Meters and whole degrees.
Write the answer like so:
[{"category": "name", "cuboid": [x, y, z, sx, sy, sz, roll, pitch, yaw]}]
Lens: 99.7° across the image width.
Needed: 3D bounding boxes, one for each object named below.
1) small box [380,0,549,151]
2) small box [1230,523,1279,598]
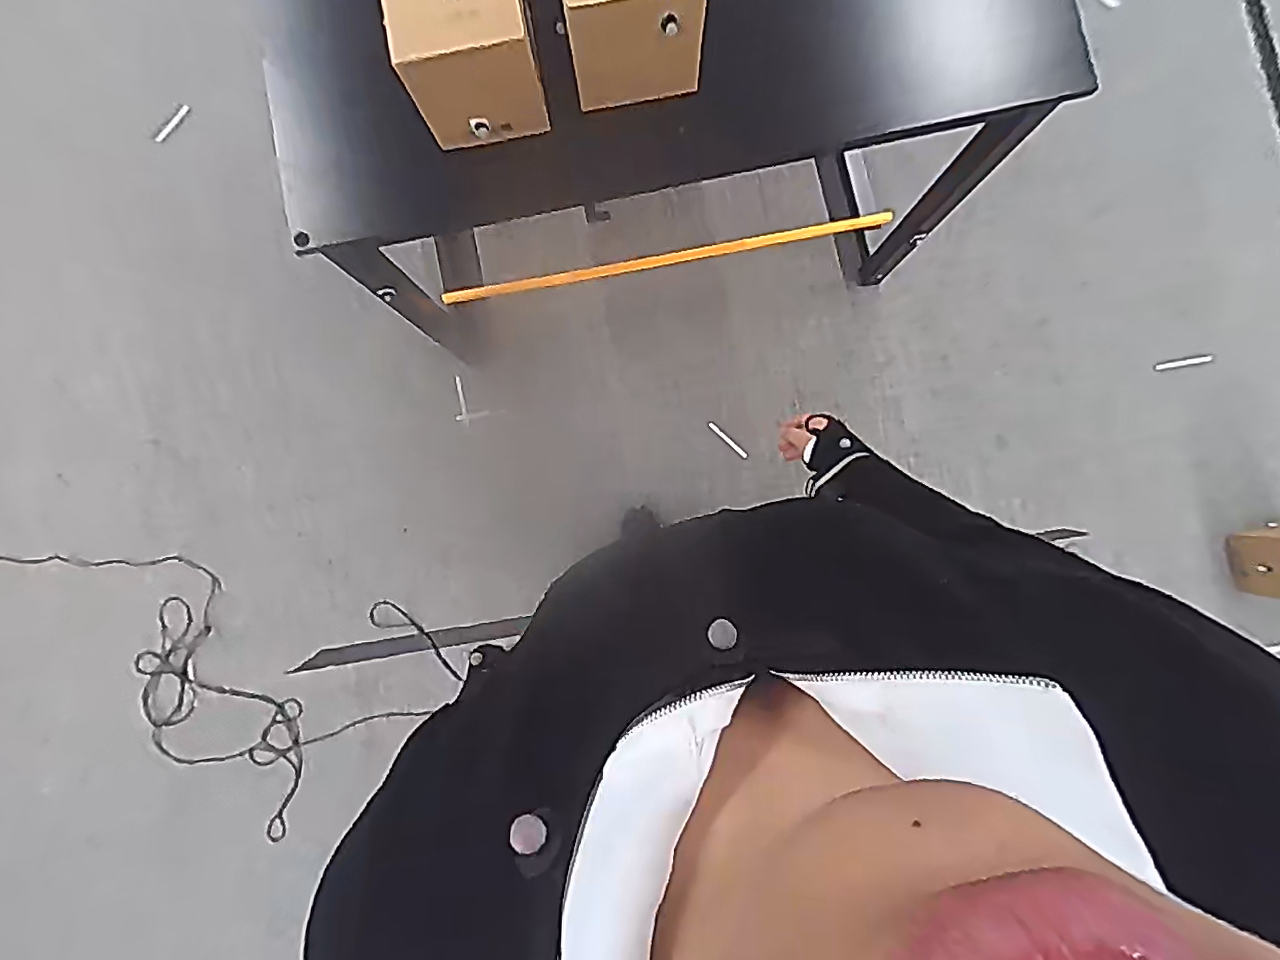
[{"category": "small box", "cuboid": [-0.230, -0.588, 0.723, 0.168, 0.176, 0.179, -11, 88, 2]}, {"category": "small box", "cuboid": [1.679, 0.206, 1.379, 0.179, 0.176, 0.168, -13, 87, 1]}]
